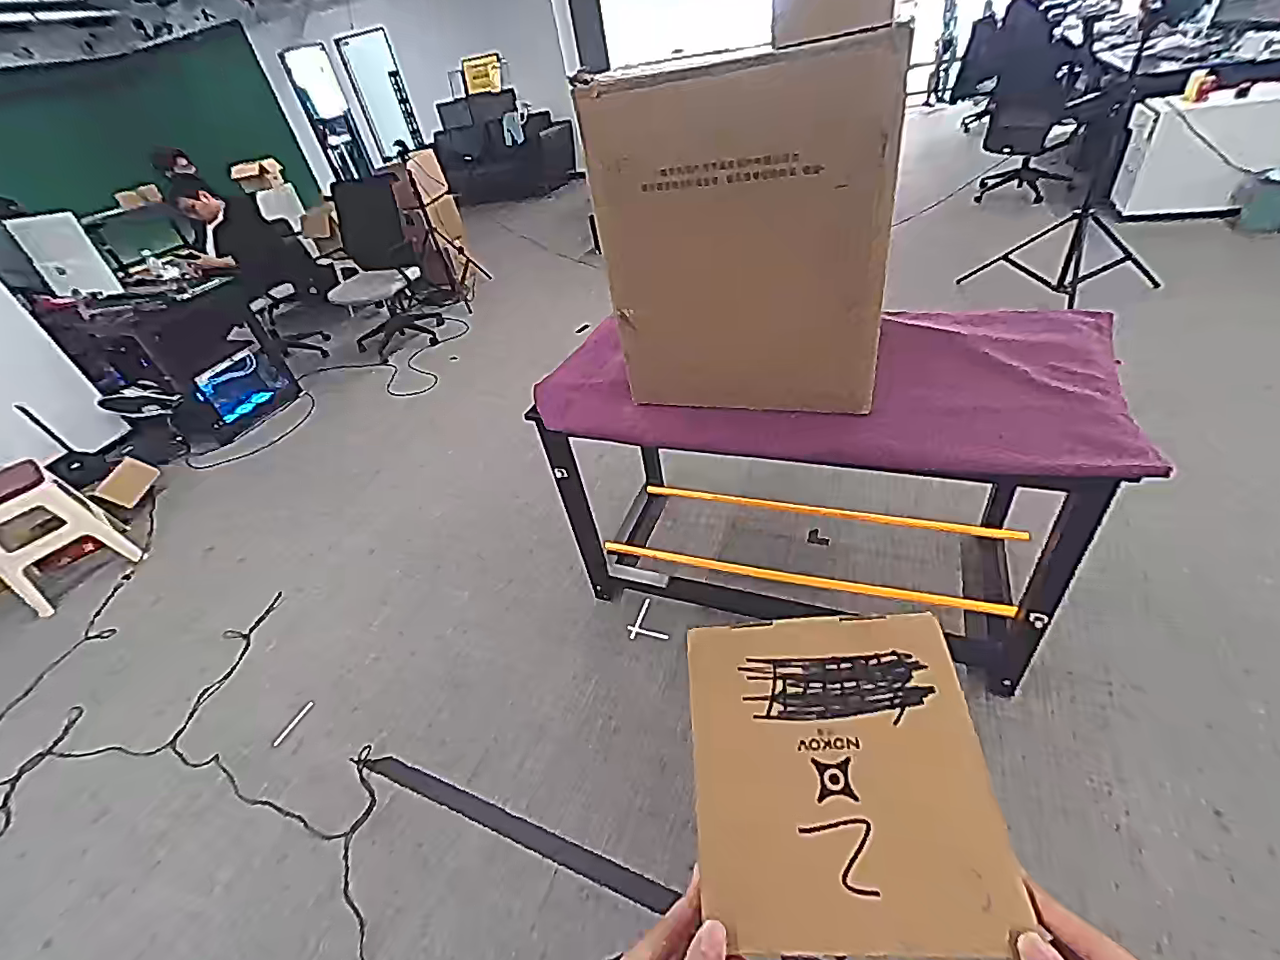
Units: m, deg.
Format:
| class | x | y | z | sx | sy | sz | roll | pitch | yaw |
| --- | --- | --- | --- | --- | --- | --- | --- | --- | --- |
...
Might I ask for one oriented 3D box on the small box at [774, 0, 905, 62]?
| class | x | y | z | sx | sy | sz | roll | pitch | yaw |
| --- | --- | --- | --- | --- | --- | --- | --- | --- | --- |
| small box | 0.285 | -0.720 | 0.762 | 0.168 | 0.176 | 0.179 | 8 | 43 | 24 |
